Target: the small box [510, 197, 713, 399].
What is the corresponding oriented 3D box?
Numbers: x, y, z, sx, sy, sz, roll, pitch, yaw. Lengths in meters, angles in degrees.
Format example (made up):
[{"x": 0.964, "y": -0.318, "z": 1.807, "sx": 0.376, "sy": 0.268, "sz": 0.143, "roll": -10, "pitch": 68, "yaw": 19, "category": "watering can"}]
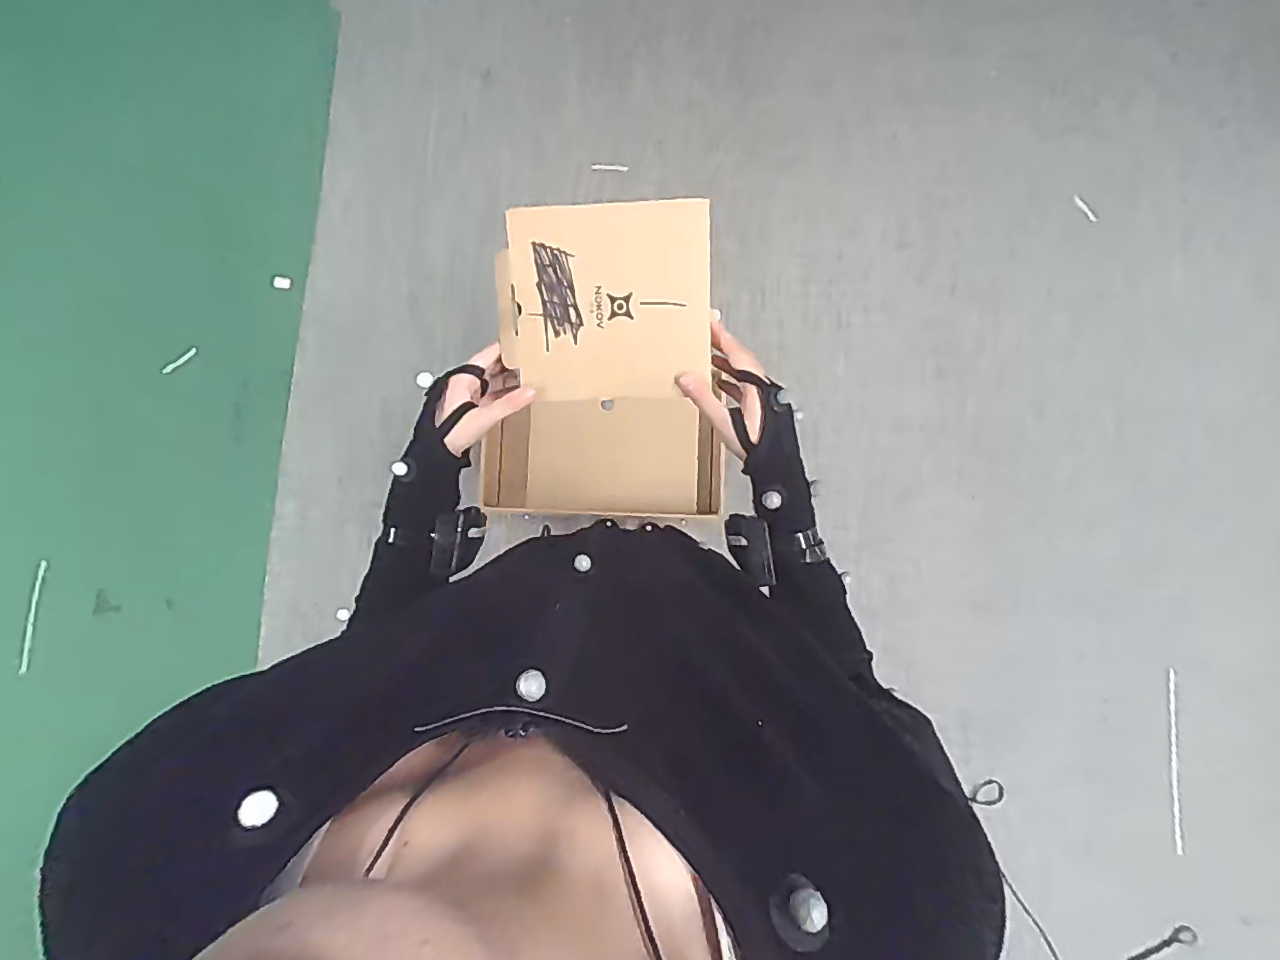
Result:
[{"x": -0.016, "y": -0.172, "z": 0.552, "sx": 0.179, "sy": 0.176, "sz": 0.168, "roll": -2, "pitch": 104, "yaw": 5, "category": "small box"}]
